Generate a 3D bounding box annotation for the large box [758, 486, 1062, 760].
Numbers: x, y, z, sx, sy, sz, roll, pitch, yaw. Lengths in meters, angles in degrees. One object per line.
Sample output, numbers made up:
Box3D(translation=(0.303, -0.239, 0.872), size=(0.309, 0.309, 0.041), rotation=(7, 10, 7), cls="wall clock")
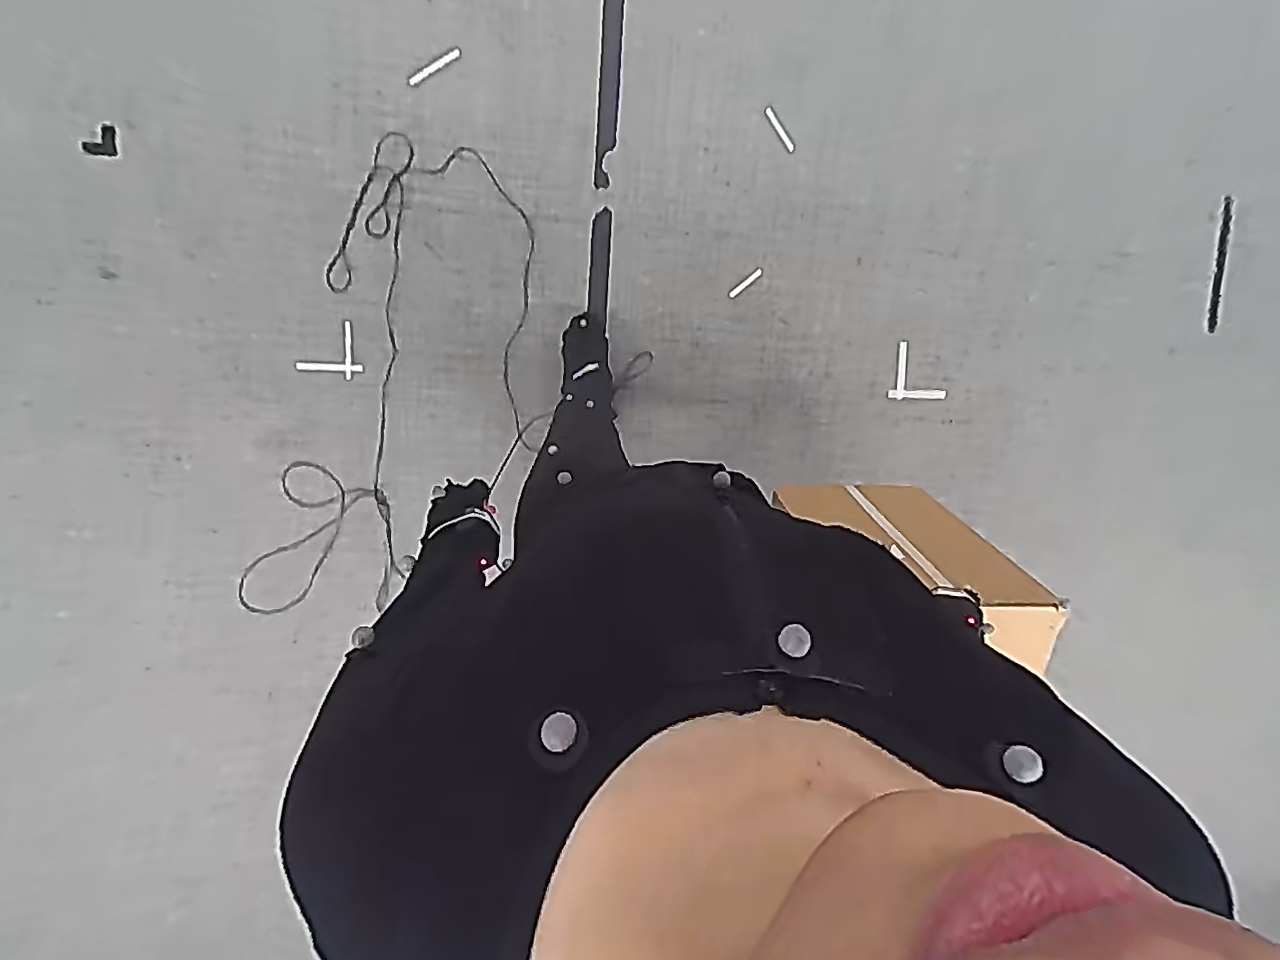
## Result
Box3D(translation=(0.433, 0.236, 0.998), size=(0.320, 0.408, 0.320), rotation=(-1, 114, -3), cls="large box")
